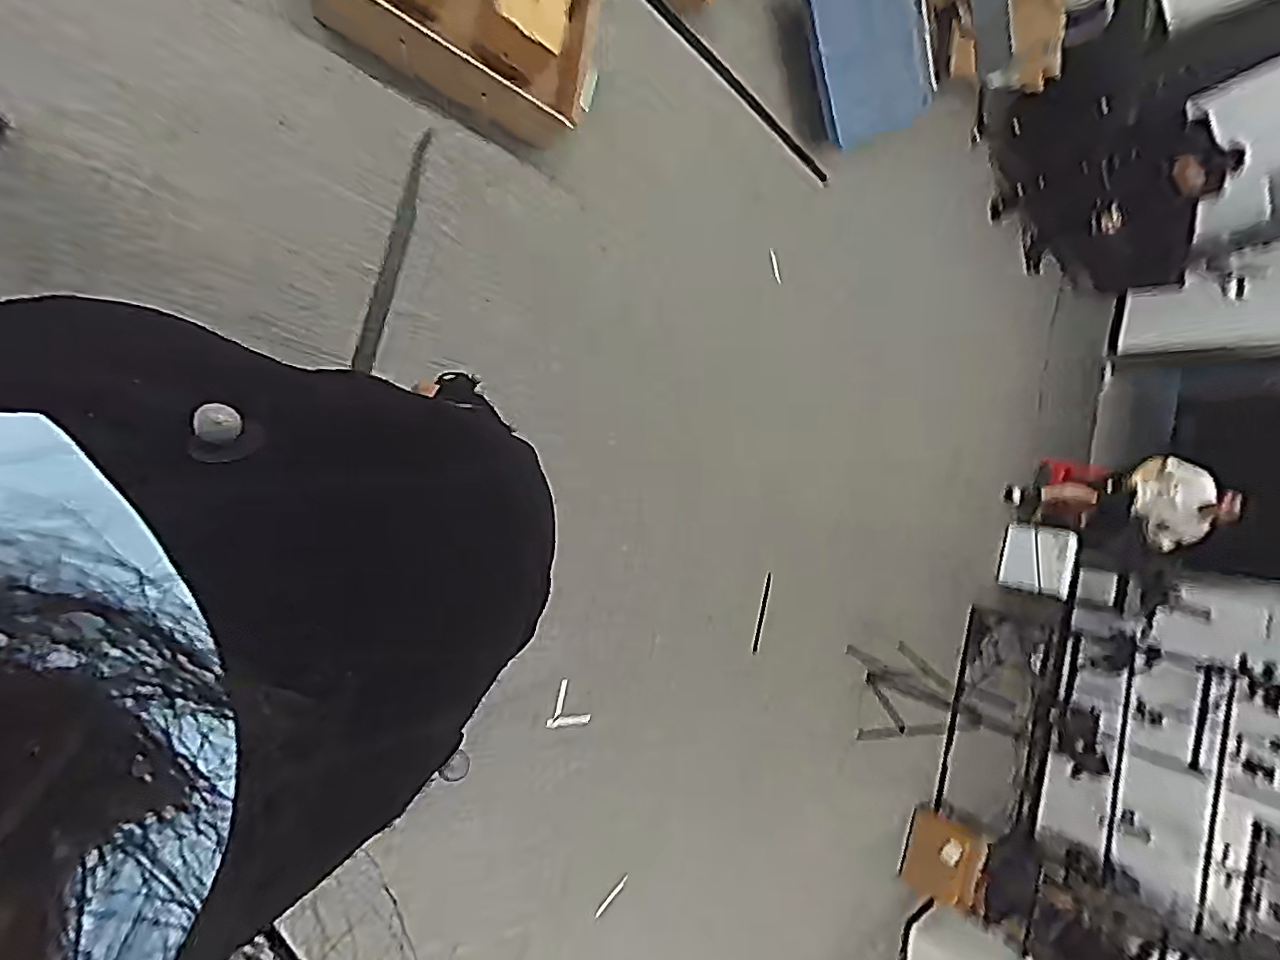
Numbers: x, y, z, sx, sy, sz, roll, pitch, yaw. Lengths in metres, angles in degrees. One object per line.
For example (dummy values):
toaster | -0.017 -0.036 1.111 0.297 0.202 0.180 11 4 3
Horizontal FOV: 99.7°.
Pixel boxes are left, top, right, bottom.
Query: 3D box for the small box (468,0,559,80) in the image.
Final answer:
small box | -0.328 -1.197 1.397 0.168 0.176 0.179 10 89 -38

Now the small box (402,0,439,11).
small box | -0.526 -1.232 1.232 0.179 0.176 0.168 8 89 -40
